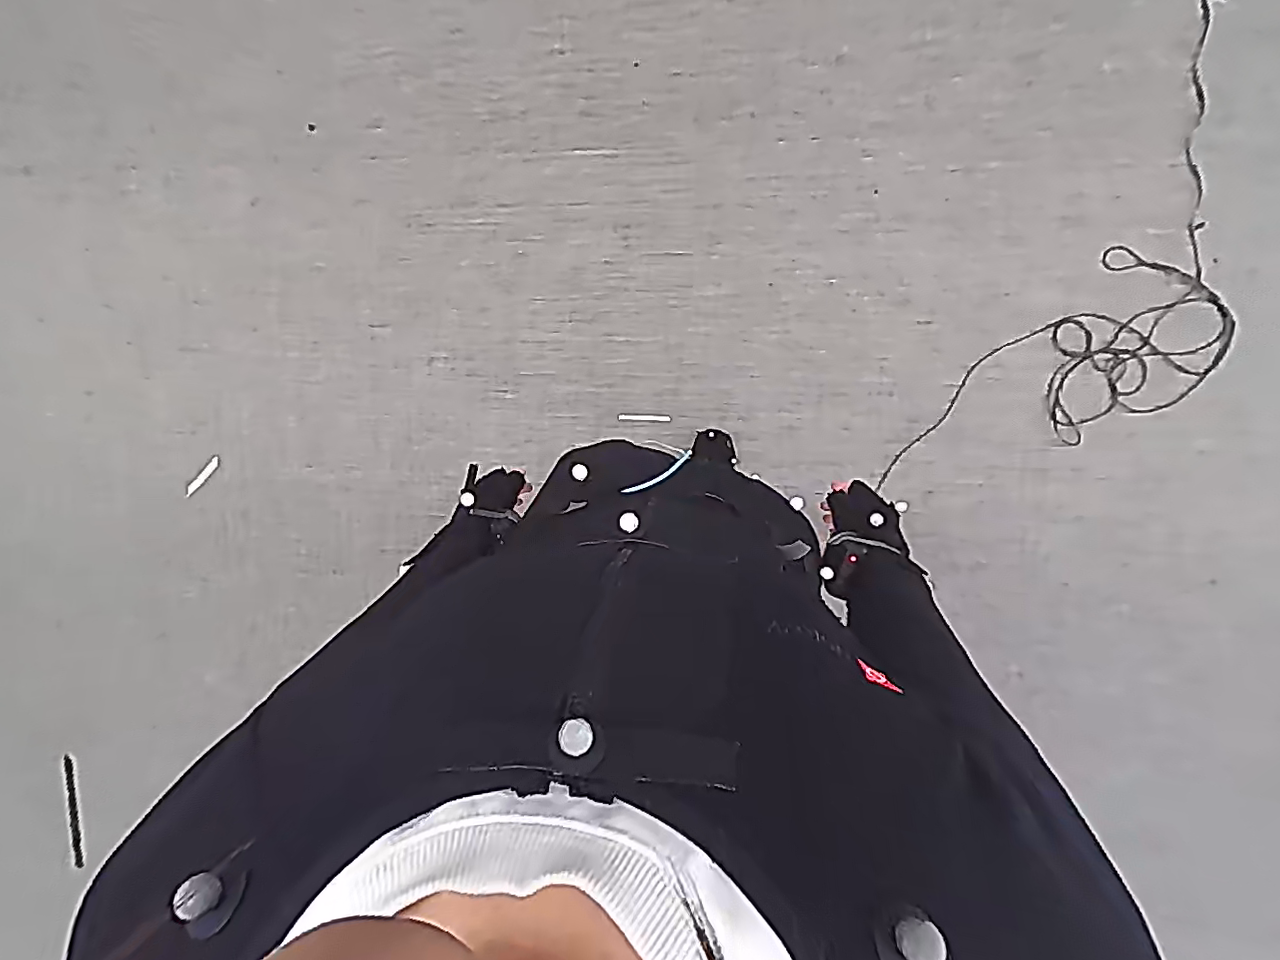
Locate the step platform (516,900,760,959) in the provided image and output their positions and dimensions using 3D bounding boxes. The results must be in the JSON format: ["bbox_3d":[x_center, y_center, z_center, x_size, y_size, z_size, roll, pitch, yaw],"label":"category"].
[{"bbox_3d":[-0.008,1.405,1.498,0.684,0.204,0.286,1,95,8],"label":"step platform"}]
